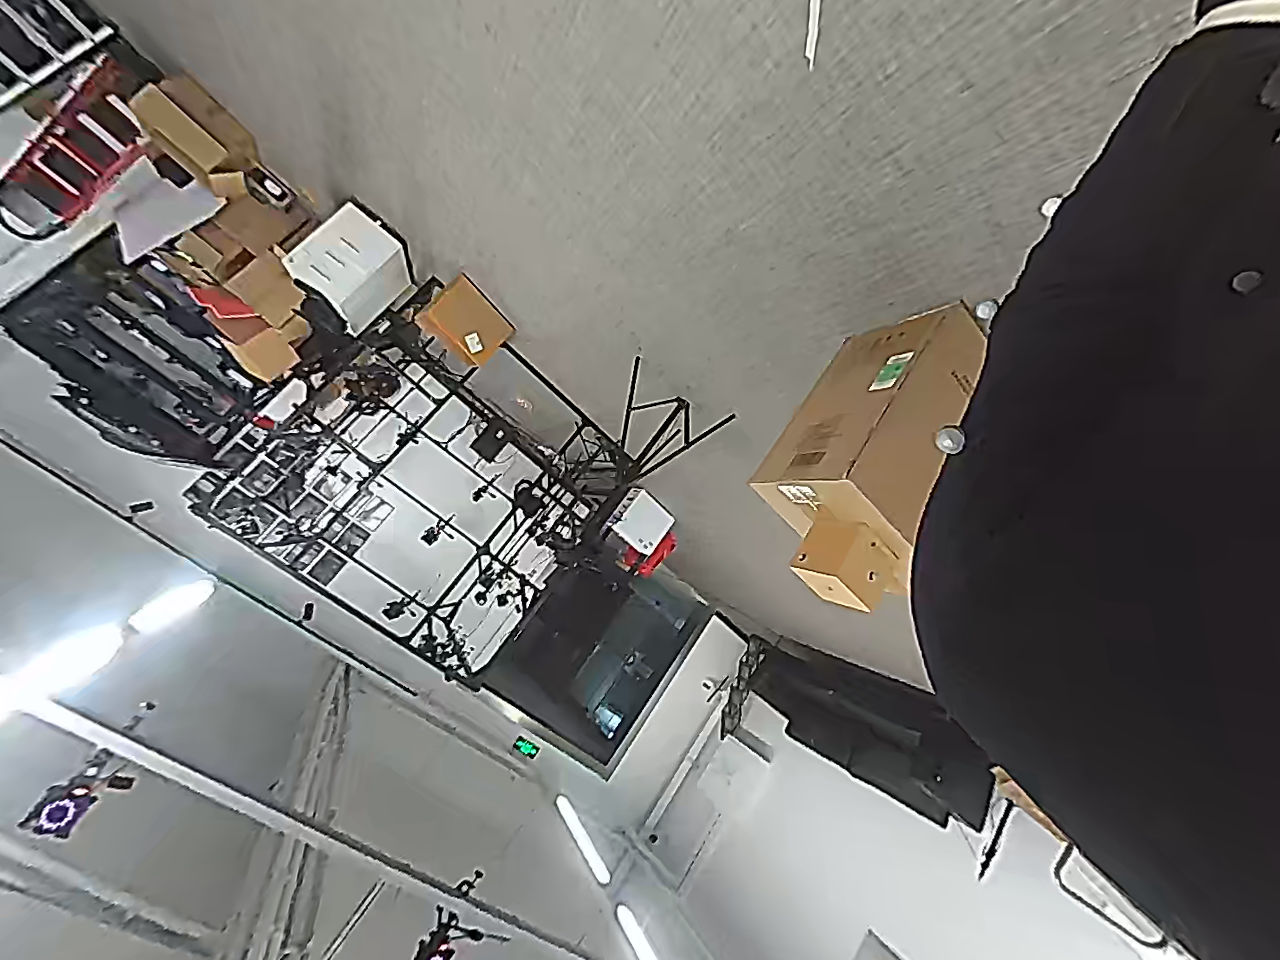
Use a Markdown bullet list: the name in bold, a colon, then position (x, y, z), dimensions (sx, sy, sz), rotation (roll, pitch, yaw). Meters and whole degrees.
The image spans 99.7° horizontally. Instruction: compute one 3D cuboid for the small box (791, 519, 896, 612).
- **small box**: position (0.542, 0.219, 1.426), dimensions (0.168, 0.176, 0.179), rotation (42, 164, -20)
